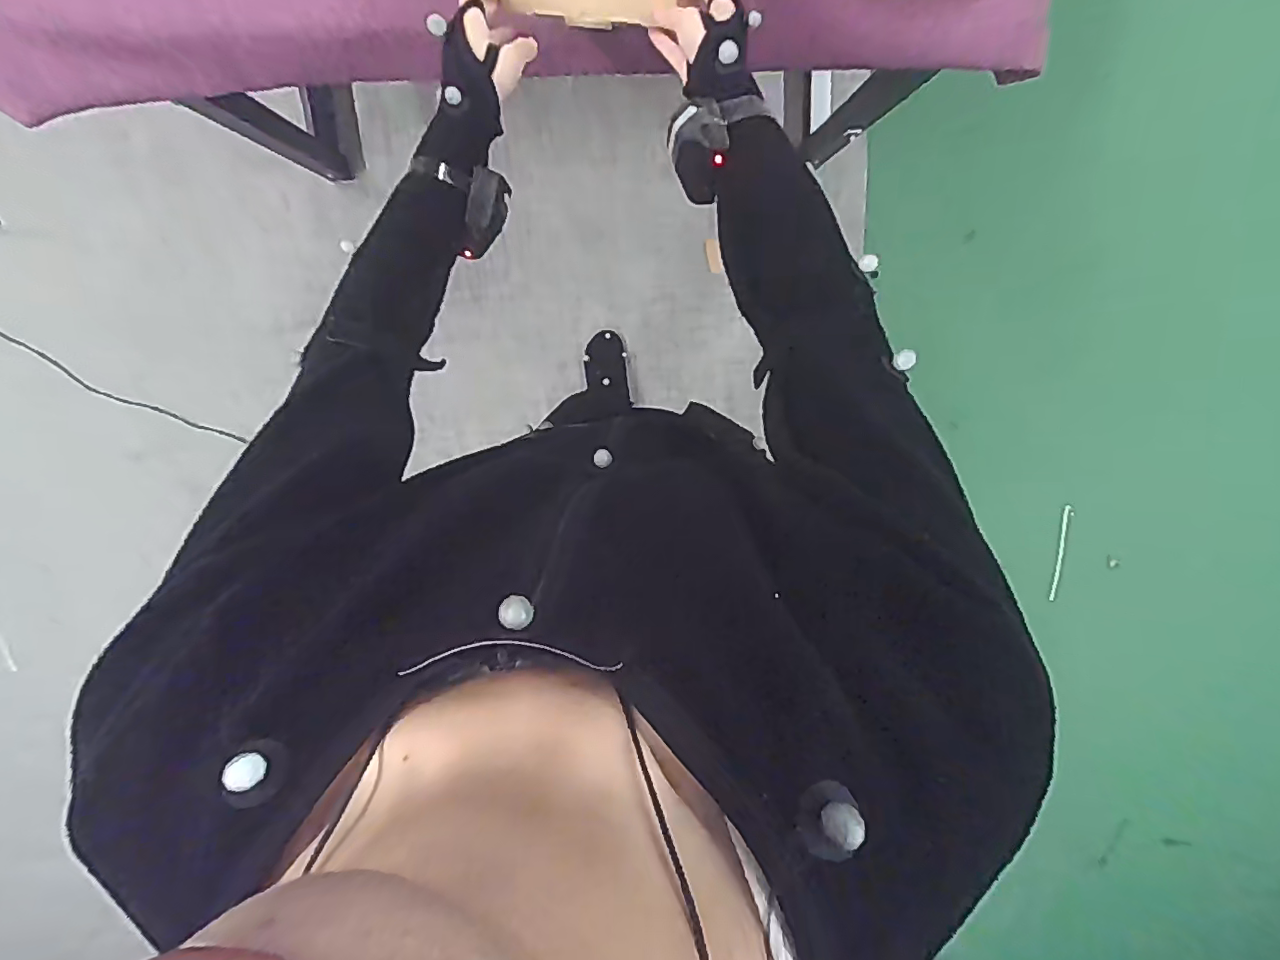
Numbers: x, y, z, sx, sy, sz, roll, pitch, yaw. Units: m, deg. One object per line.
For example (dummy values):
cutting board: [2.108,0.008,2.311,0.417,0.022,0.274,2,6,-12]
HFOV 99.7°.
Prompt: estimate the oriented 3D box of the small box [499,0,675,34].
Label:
small box: [-0.042,-0.546,0.496,0.168,0.176,0.179,3,139,-3]
